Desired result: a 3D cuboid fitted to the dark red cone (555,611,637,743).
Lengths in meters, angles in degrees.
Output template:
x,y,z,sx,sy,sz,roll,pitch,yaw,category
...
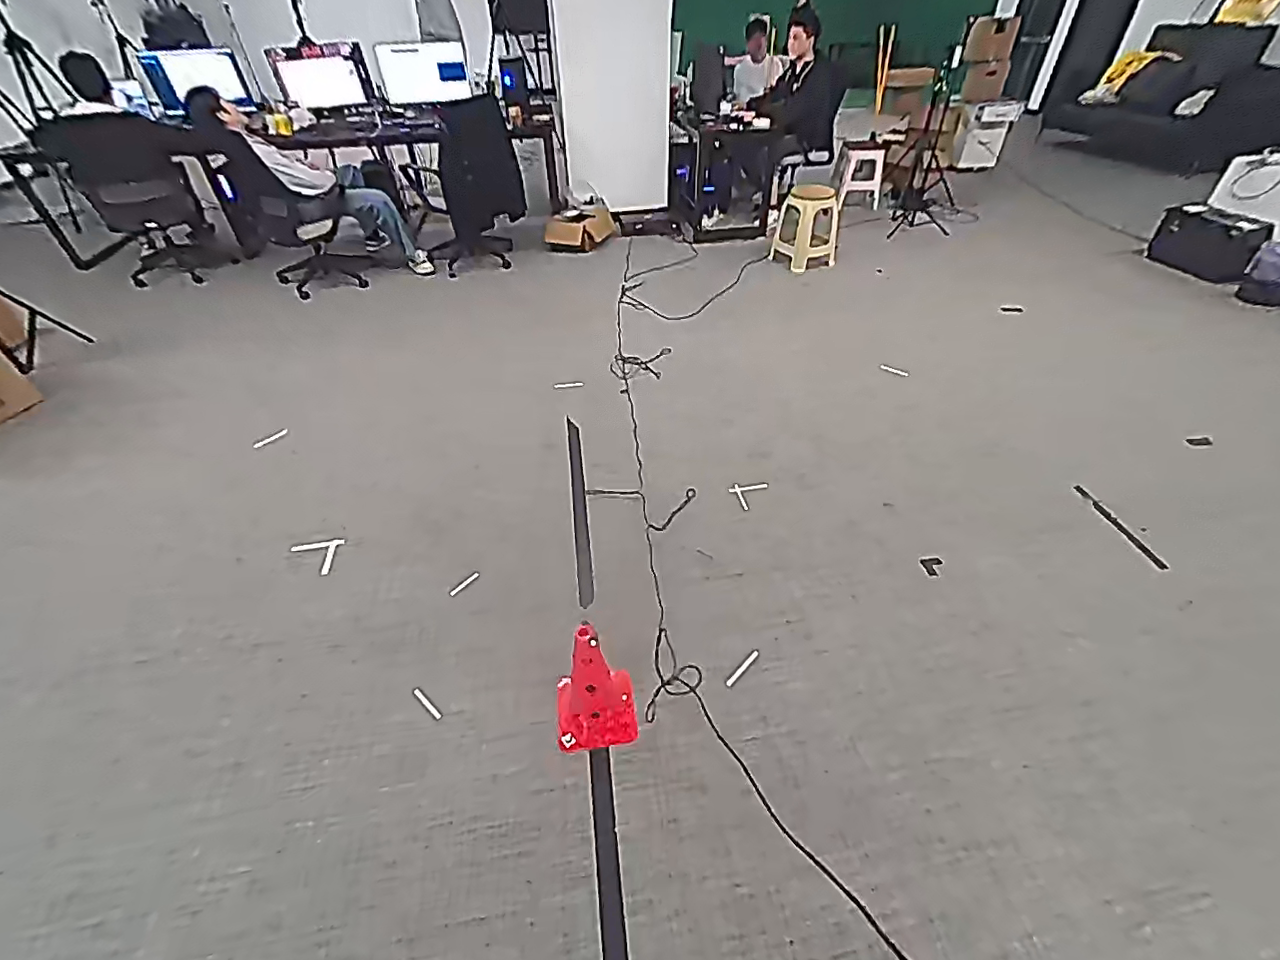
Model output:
x,y,z,sx,sy,sz,roll,pitch,yaw,category
-0.117,0.450,1.295,0.201,0.394,0.202,-6,41,-7,dark red cone
